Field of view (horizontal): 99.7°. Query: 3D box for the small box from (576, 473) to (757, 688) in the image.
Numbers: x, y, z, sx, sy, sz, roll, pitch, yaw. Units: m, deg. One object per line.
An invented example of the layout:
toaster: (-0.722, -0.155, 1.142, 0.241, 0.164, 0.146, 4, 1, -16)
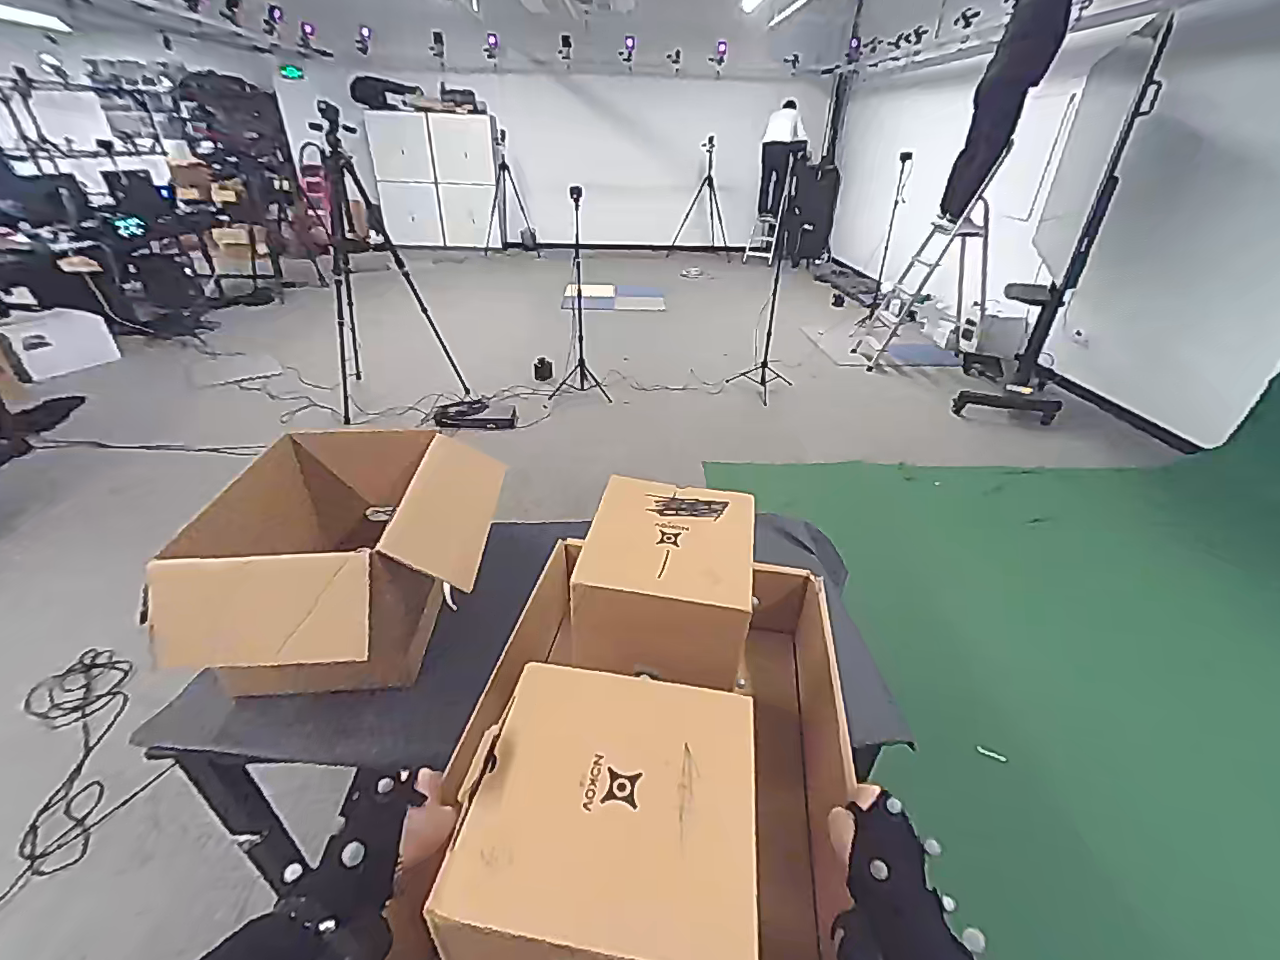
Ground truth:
small box: (0.031, 0.118, 0.600, 0.168, 0.176, 0.179, 9, 37, 8)

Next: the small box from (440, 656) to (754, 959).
small box: (-0.018, 0.260, 0.395, 0.179, 0.176, 0.168, 8, 34, 6)
